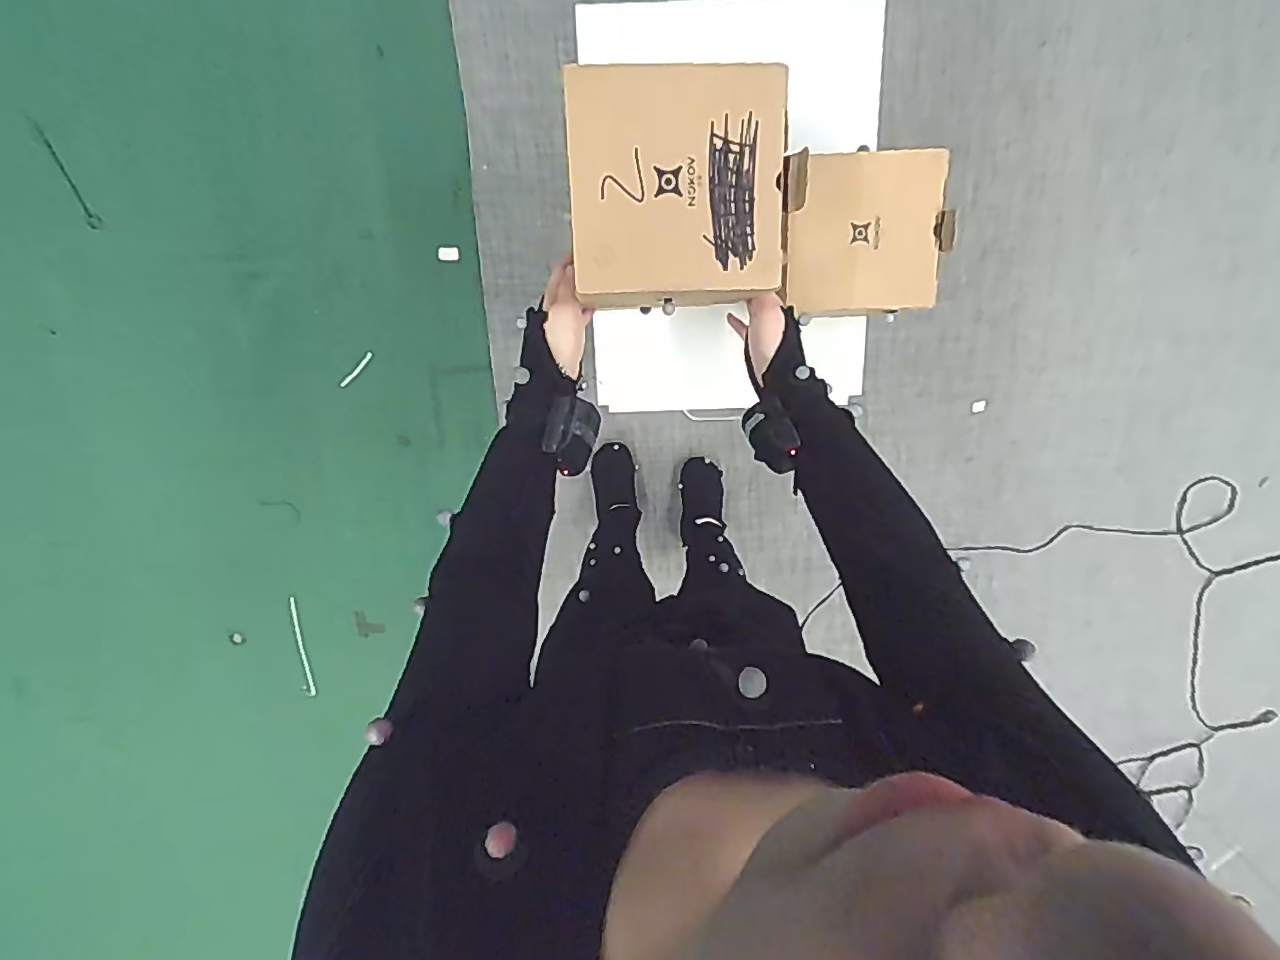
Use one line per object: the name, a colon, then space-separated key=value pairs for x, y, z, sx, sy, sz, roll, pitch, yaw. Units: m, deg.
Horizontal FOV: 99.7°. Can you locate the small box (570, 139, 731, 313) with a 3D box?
small box: x=0.013 y=-0.301 z=0.674 sx=0.179 sy=0.176 sz=0.168 roll=-3 pitch=104 yaw=-1
